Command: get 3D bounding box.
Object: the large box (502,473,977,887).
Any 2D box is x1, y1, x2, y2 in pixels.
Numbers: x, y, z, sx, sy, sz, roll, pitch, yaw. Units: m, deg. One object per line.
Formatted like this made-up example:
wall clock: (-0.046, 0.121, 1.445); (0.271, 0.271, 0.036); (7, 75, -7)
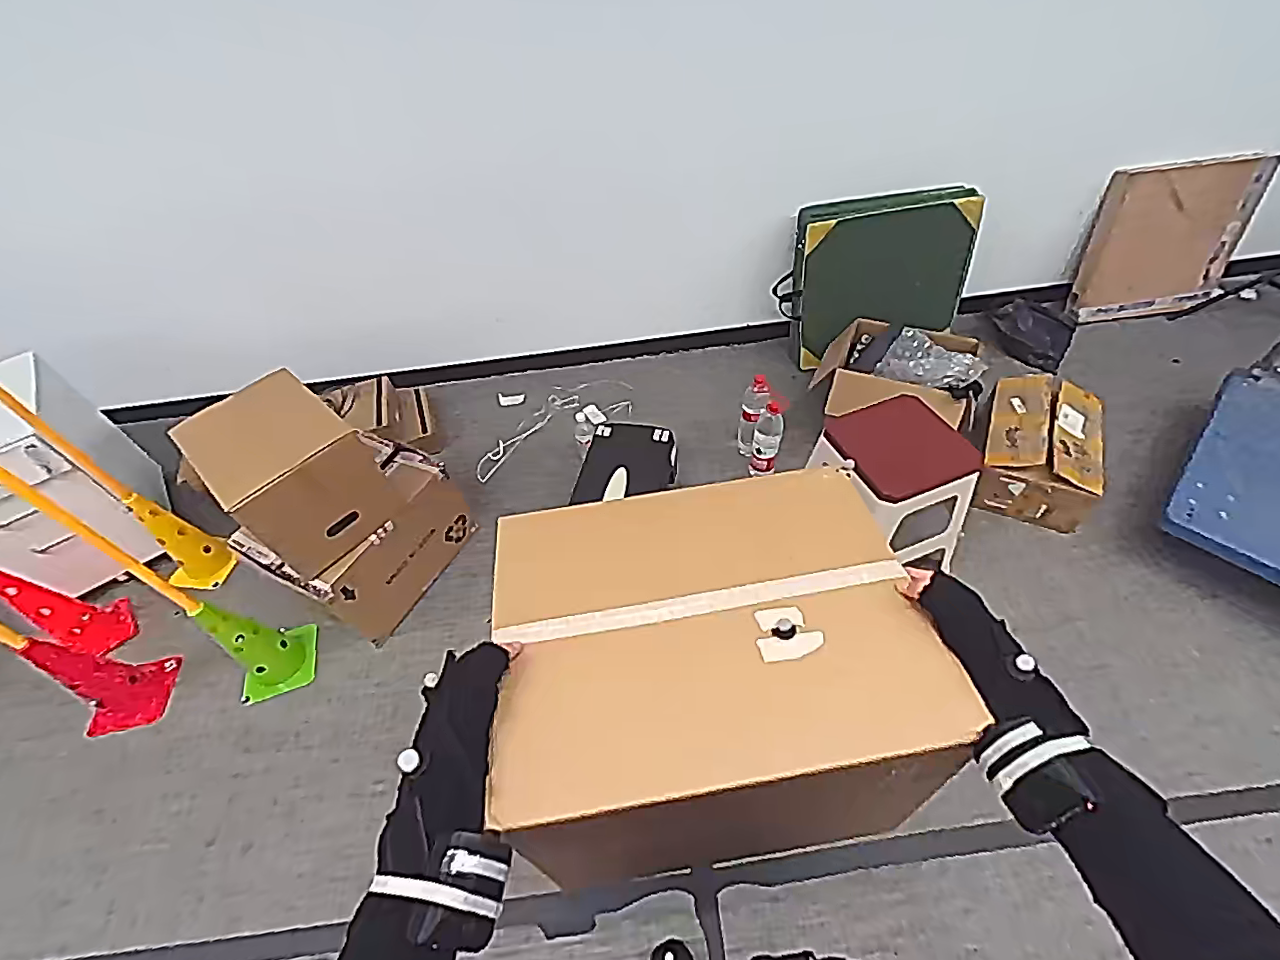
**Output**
large box: (0.073, 0.233, 0.641); (0.408, 0.320, 0.320); (-9, 45, -3)
